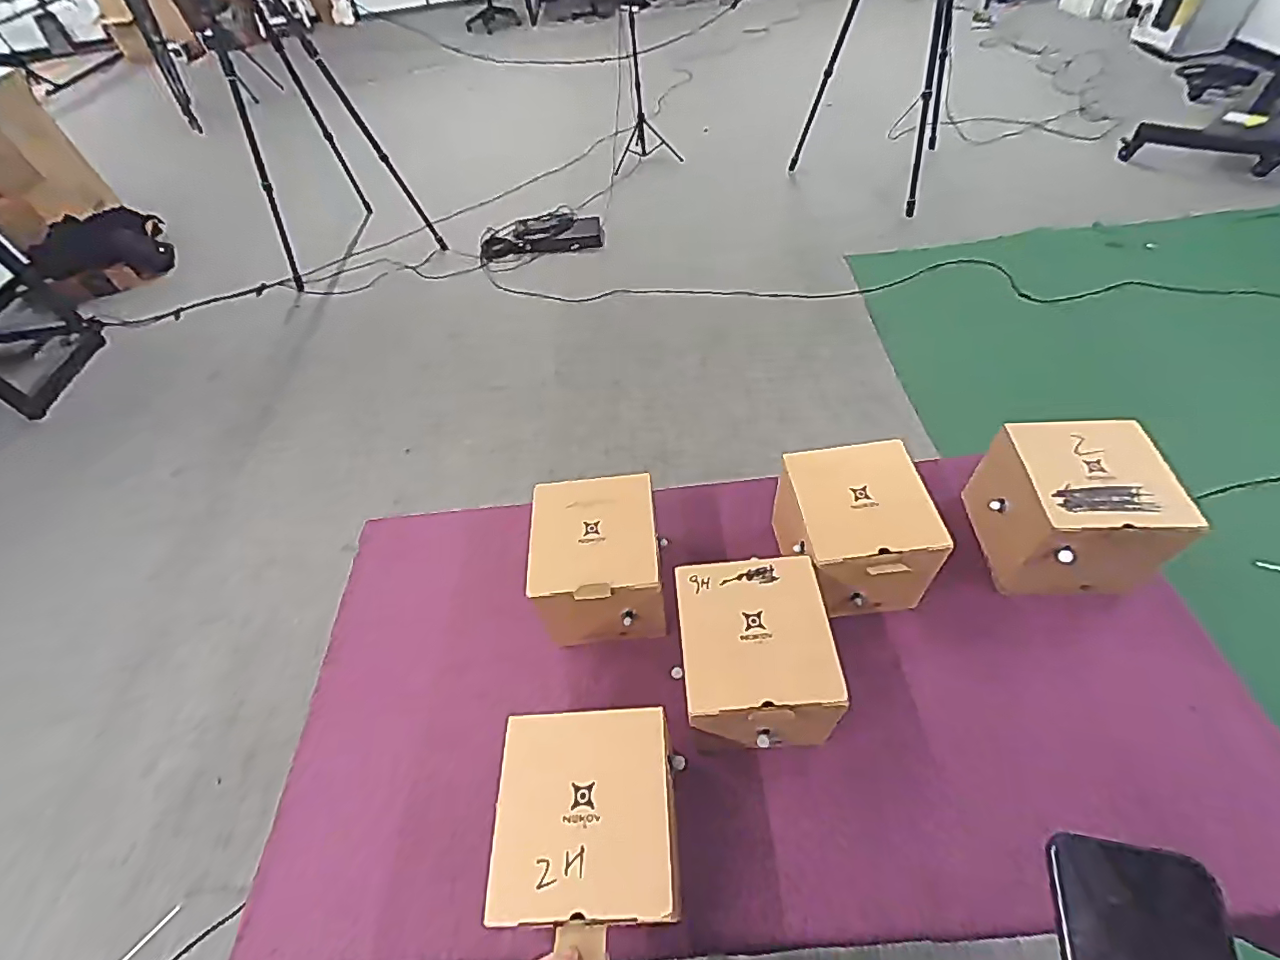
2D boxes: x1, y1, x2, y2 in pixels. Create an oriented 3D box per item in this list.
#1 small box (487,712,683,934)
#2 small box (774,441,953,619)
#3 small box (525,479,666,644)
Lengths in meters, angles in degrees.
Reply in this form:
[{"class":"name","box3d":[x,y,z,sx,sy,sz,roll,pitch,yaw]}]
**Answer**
[{"class":"small box","box3d":[-0.044,0.364,0.572,0.168,0.176,0.179,-5,50,5]},{"class":"small box","box3d":[0.292,0.073,0.757,0.168,0.176,0.179,-8,52,2]},{"class":"small box","box3d":[-0.054,0.123,0.768,0.168,0.176,0.179,-5,51,3]}]
